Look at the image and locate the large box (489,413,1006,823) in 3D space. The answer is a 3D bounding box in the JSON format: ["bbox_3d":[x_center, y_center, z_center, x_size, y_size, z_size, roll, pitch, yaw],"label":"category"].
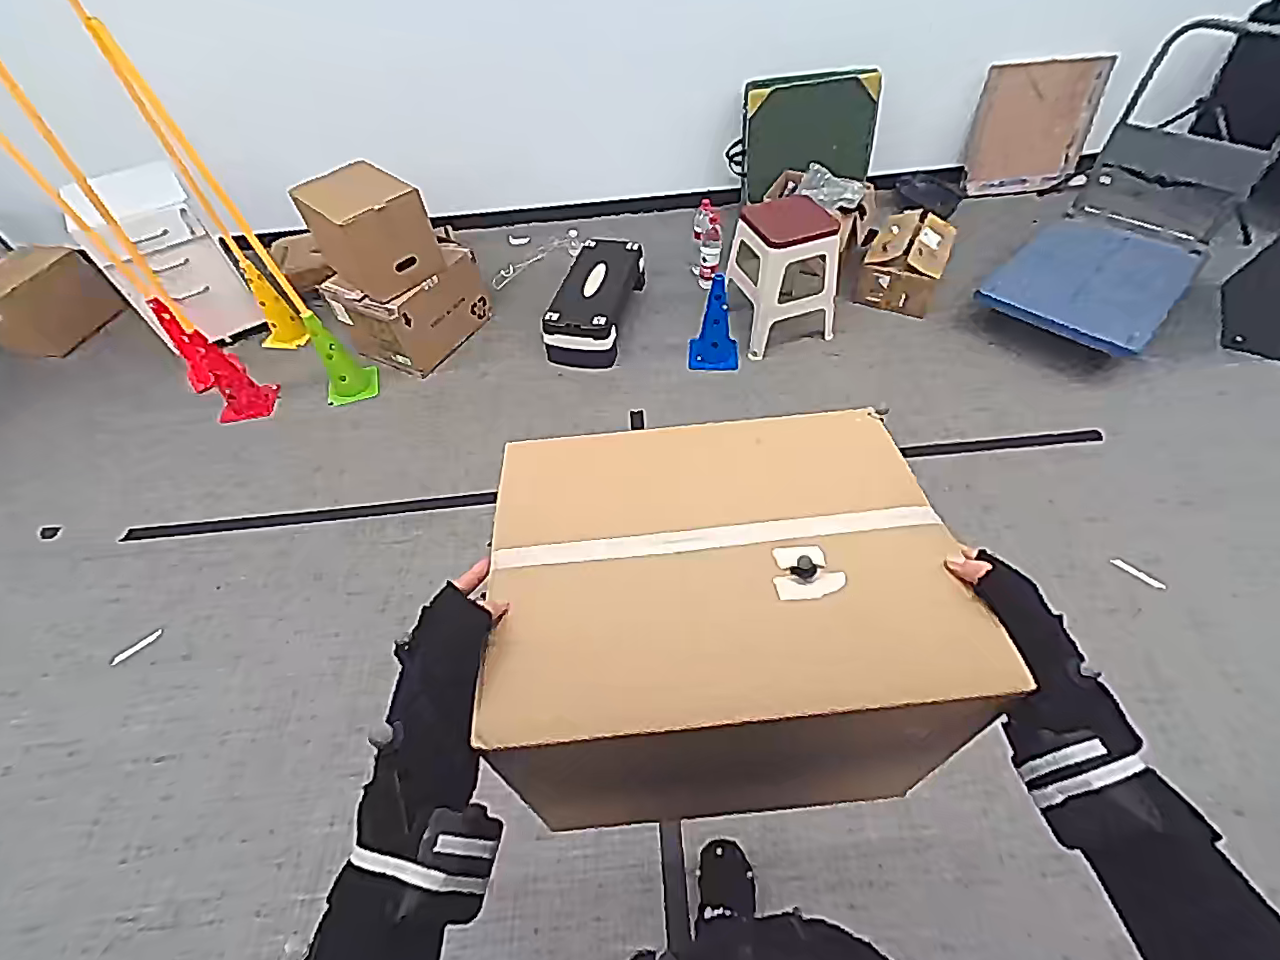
[{"bbox_3d":[0.076,0.157,0.612,0.408,0.320,0.320,-6,47,-1],"label":"large box"}]
